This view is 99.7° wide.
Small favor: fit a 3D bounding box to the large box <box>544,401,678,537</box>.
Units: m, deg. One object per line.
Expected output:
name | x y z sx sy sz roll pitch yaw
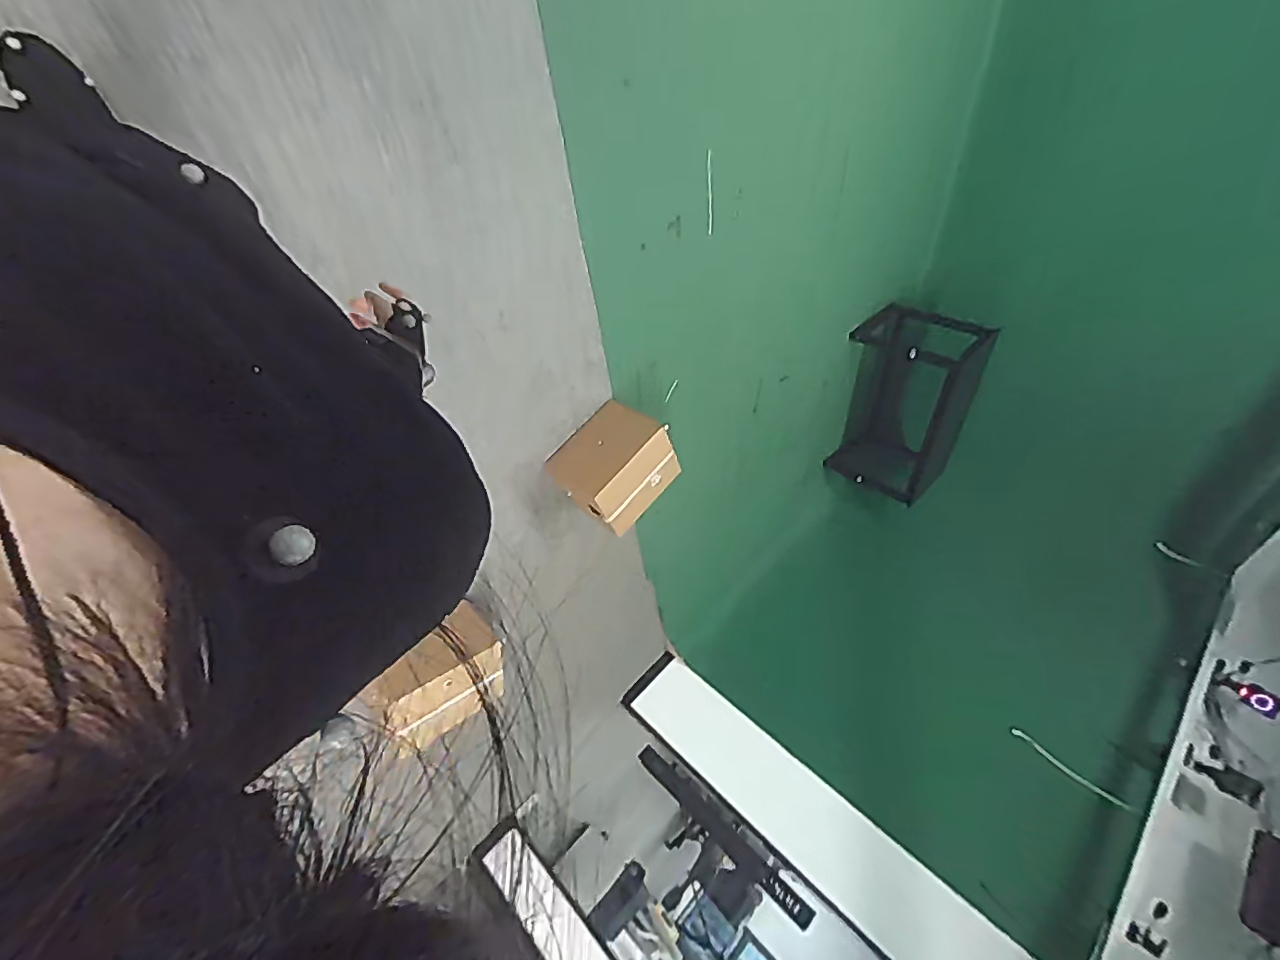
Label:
large box | -0.113 -0.049 2.229 0.408 0.320 0.320 -48 145 -16
